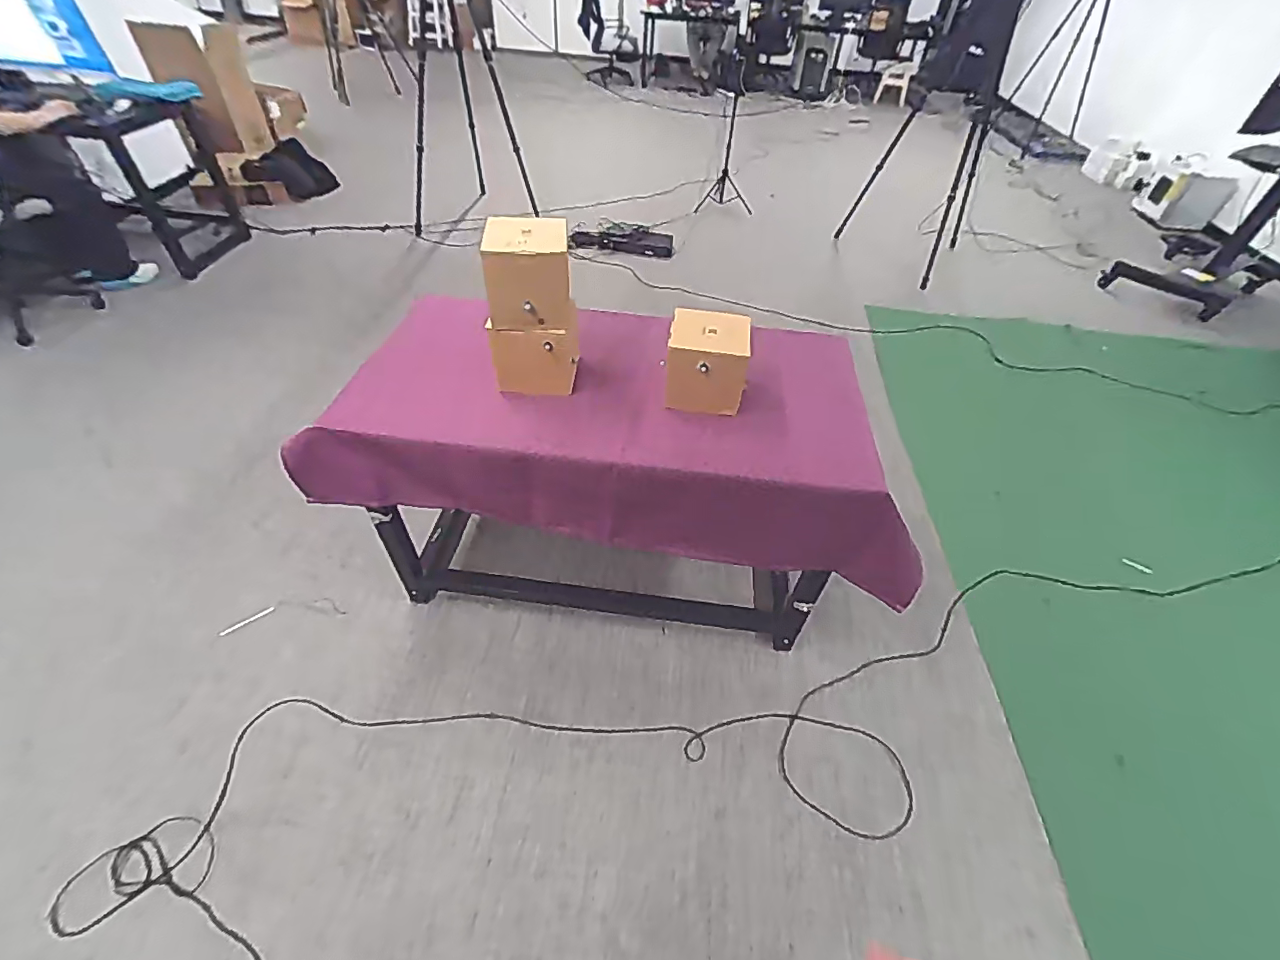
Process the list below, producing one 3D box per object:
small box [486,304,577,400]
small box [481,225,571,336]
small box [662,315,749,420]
[{"bbox_3d":[-0.245,-0.302,1.264,0.179,0.176,0.168,4,45,-1],"label":"small box"},{"bbox_3d":[-0.236,-0.426,1.155,0.168,0.176,0.179,-2,46,-6],"label":"small box"},{"bbox_3d":[0.148,-0.256,1.245,0.179,0.176,0.168,9,46,4],"label":"small box"}]
